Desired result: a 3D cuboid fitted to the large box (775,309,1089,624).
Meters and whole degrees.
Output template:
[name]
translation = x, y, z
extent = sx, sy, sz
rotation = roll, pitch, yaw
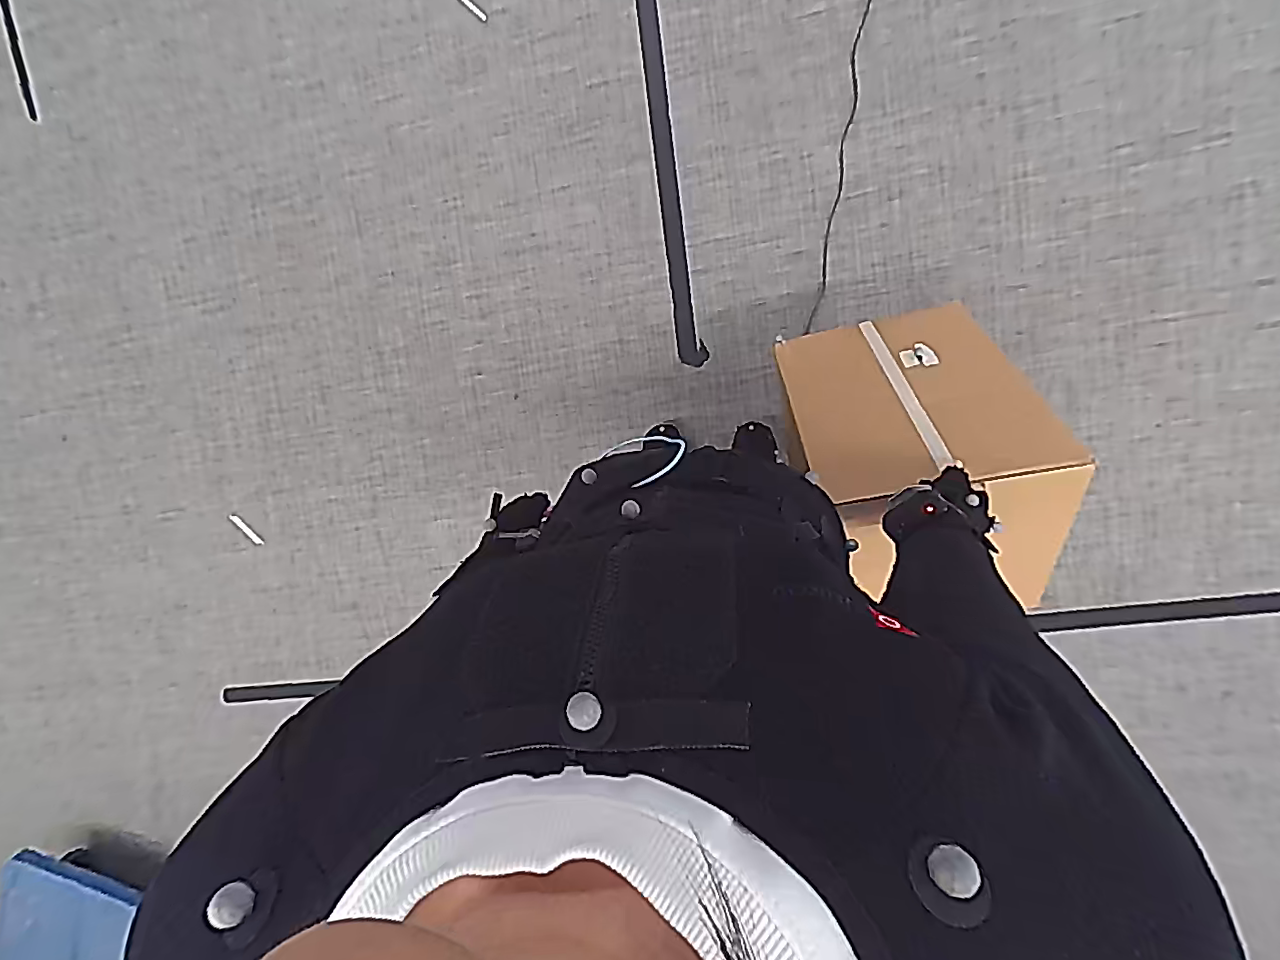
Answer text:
[large box]
translation = 0.433, -0.026, 0.911
extent = 0.320, 0.408, 0.320
rotation = -10, 132, 10
